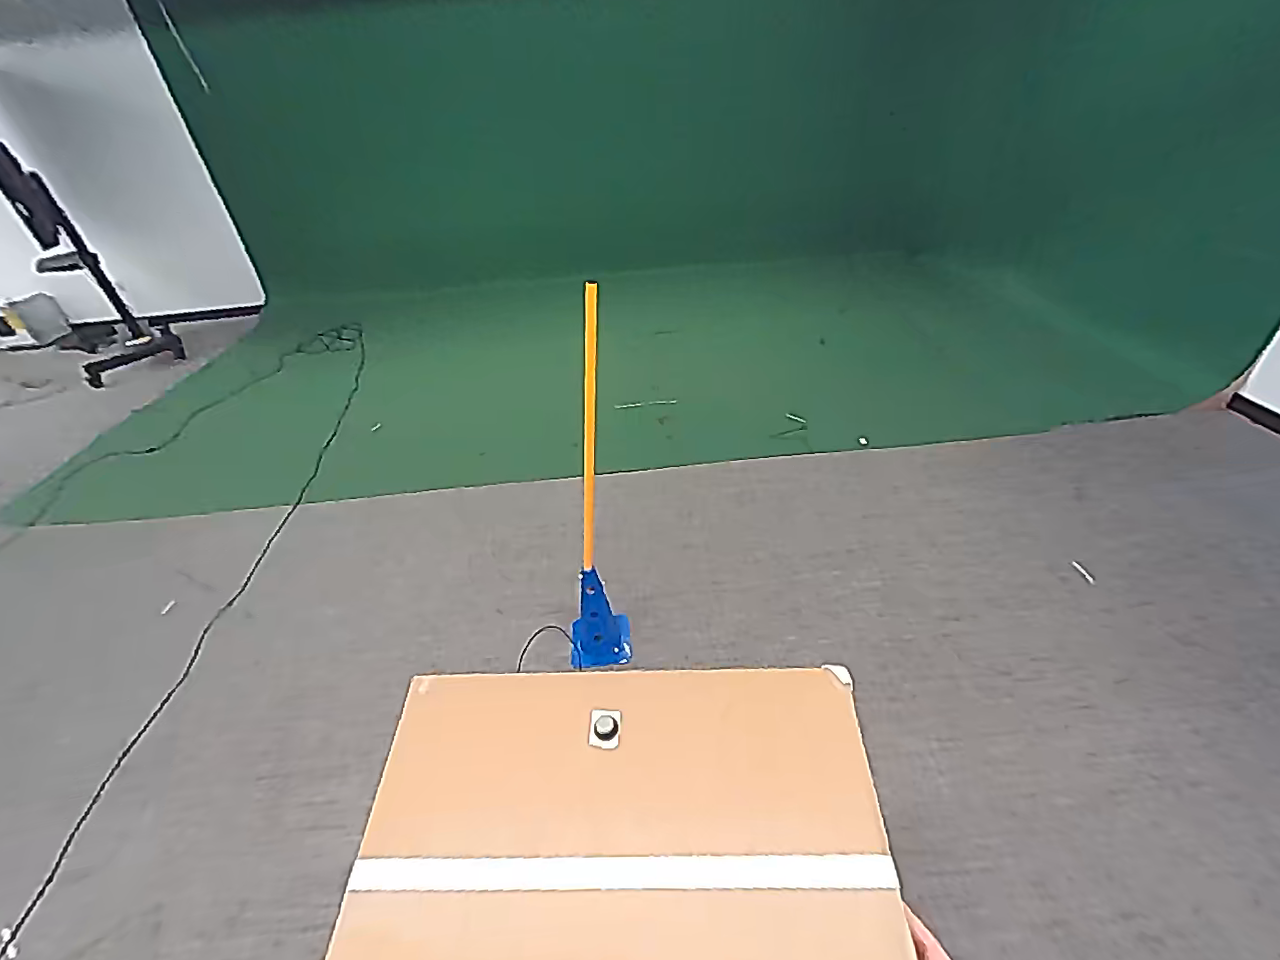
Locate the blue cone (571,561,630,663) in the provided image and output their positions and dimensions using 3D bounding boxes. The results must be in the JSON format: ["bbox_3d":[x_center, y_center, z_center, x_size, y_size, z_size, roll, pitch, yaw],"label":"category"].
[{"bbox_3d":[-0.144,0.399,1.737,0.193,0.380,0.192,-6,37,-4],"label":"blue cone"}]
